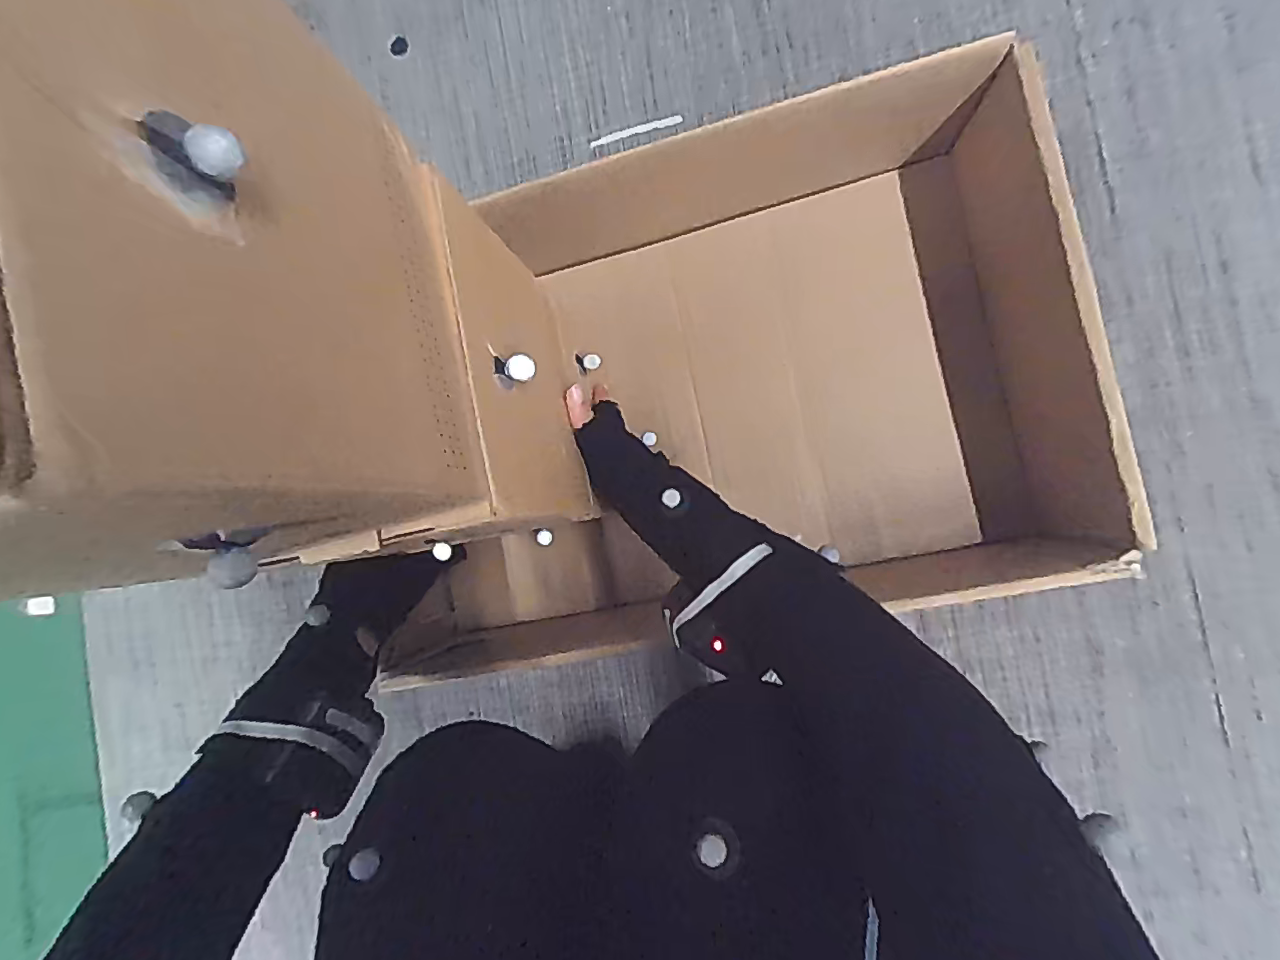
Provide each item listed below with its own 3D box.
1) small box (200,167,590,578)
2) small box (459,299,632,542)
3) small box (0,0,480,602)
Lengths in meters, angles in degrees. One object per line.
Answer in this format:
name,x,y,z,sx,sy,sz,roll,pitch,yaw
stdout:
small box,-0.141,-0.047,0.340,0.168,0.176,0.179,-11,87,10
small box,-0.111,-0.041,0.501,0.168,0.176,0.179,-10,88,10
small box,-0.174,-0.056,0.180,0.168,0.176,0.179,-13,86,9
